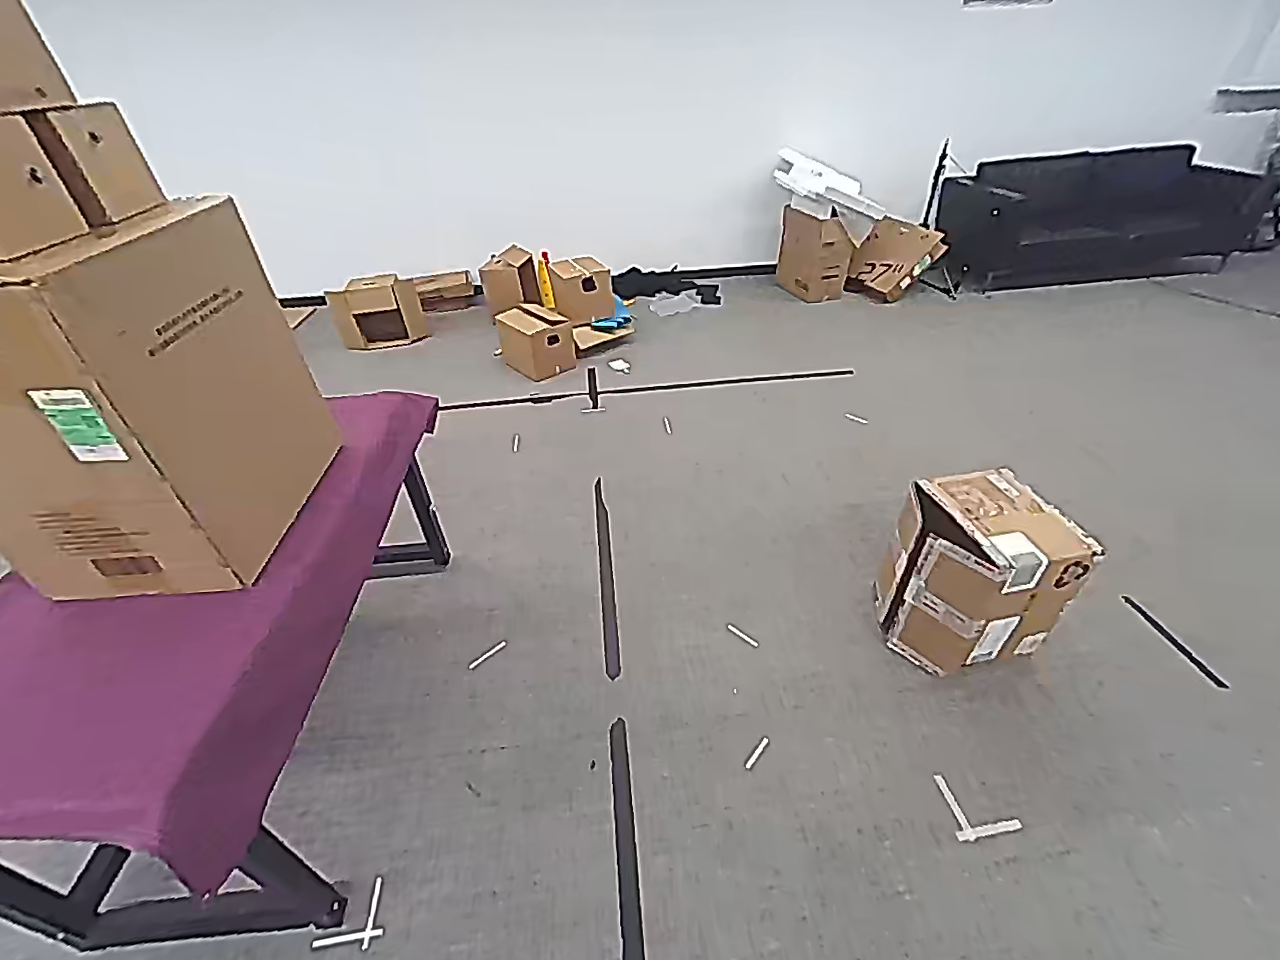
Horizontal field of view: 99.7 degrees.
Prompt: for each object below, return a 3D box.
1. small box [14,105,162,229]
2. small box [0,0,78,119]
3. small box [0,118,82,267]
[{"bbox_3d":[-1.011,-0.549,0.954,0.168,0.176,0.179,-6,38,-4],"label":"small box"},{"bbox_3d":[-1.011,-0.623,0.785,0.179,0.176,0.168,-1,39,3],"label":"small box"},{"bbox_3d":[-0.983,-0.413,0.779,0.168,0.176,0.179,-7,38,-4],"label":"small box"}]
